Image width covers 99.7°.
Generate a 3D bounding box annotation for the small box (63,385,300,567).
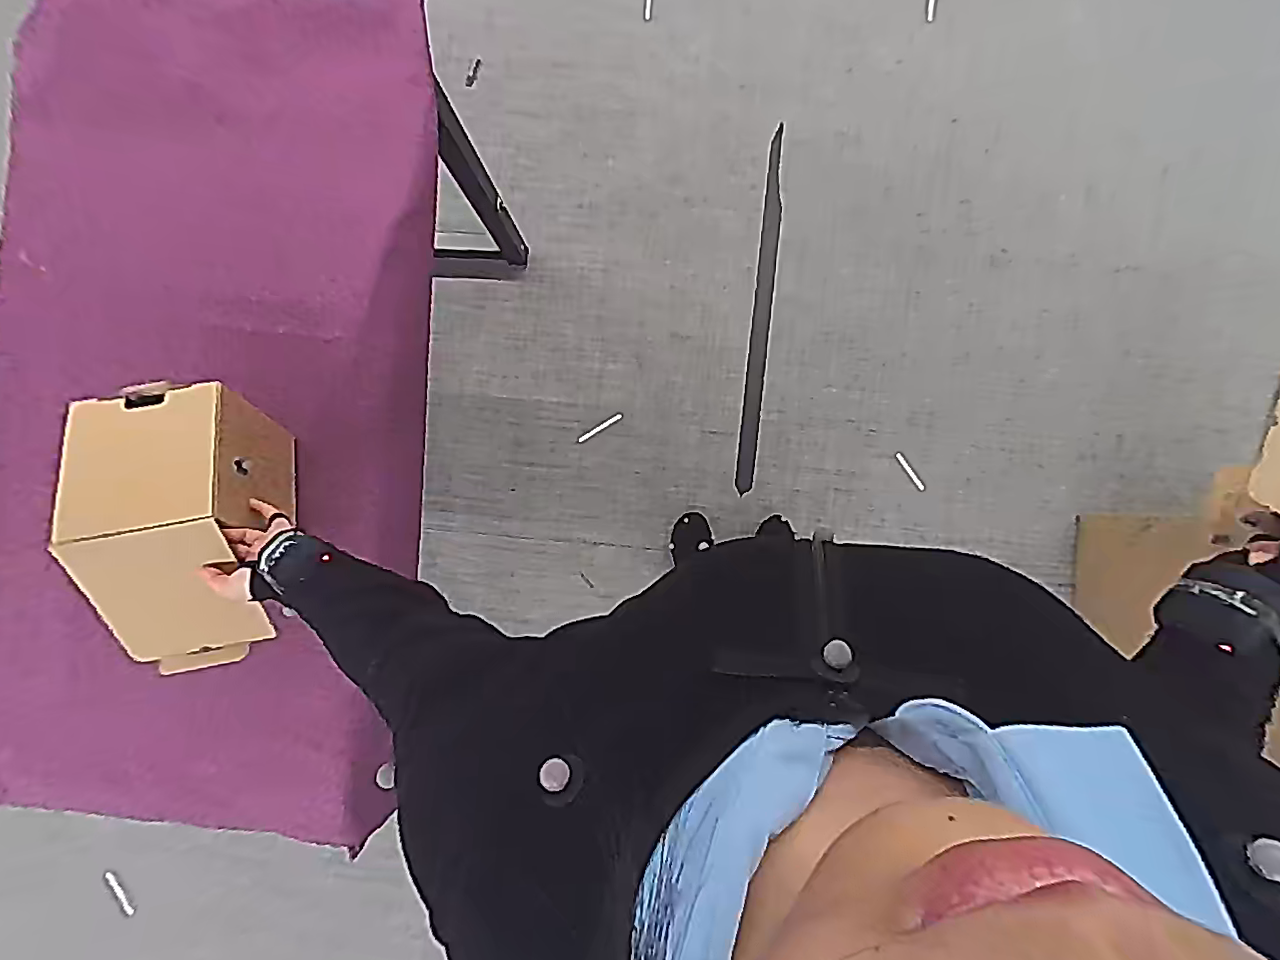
[{"bbox_3d":[-0.564,0.007,0.693,0.168,0.176,0.179,-12,71,-5],"label":"small box"}]
